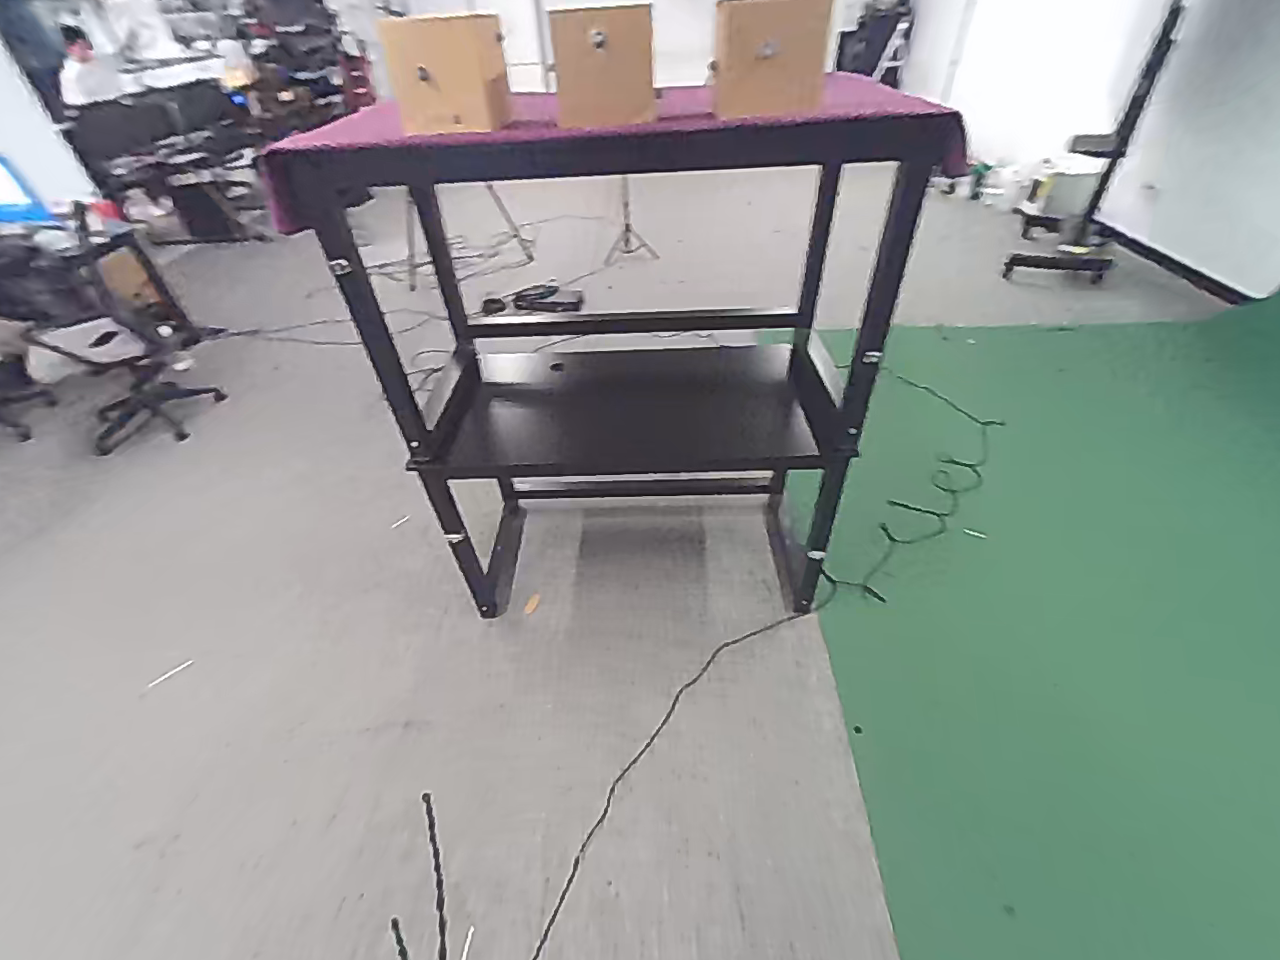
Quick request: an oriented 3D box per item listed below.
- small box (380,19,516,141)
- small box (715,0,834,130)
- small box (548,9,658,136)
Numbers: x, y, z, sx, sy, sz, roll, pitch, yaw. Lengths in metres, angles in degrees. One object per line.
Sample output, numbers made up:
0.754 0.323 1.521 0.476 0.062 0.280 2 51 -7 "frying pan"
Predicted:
-0.338 -0.733 0.999 0.168 0.176 0.179 1 40 5 "small box"
0.228 -0.737 0.963 0.179 0.176 0.168 -3 42 3 "small box"
-0.059 -0.737 0.983 0.179 0.176 0.168 -3 41 1 "small box"
